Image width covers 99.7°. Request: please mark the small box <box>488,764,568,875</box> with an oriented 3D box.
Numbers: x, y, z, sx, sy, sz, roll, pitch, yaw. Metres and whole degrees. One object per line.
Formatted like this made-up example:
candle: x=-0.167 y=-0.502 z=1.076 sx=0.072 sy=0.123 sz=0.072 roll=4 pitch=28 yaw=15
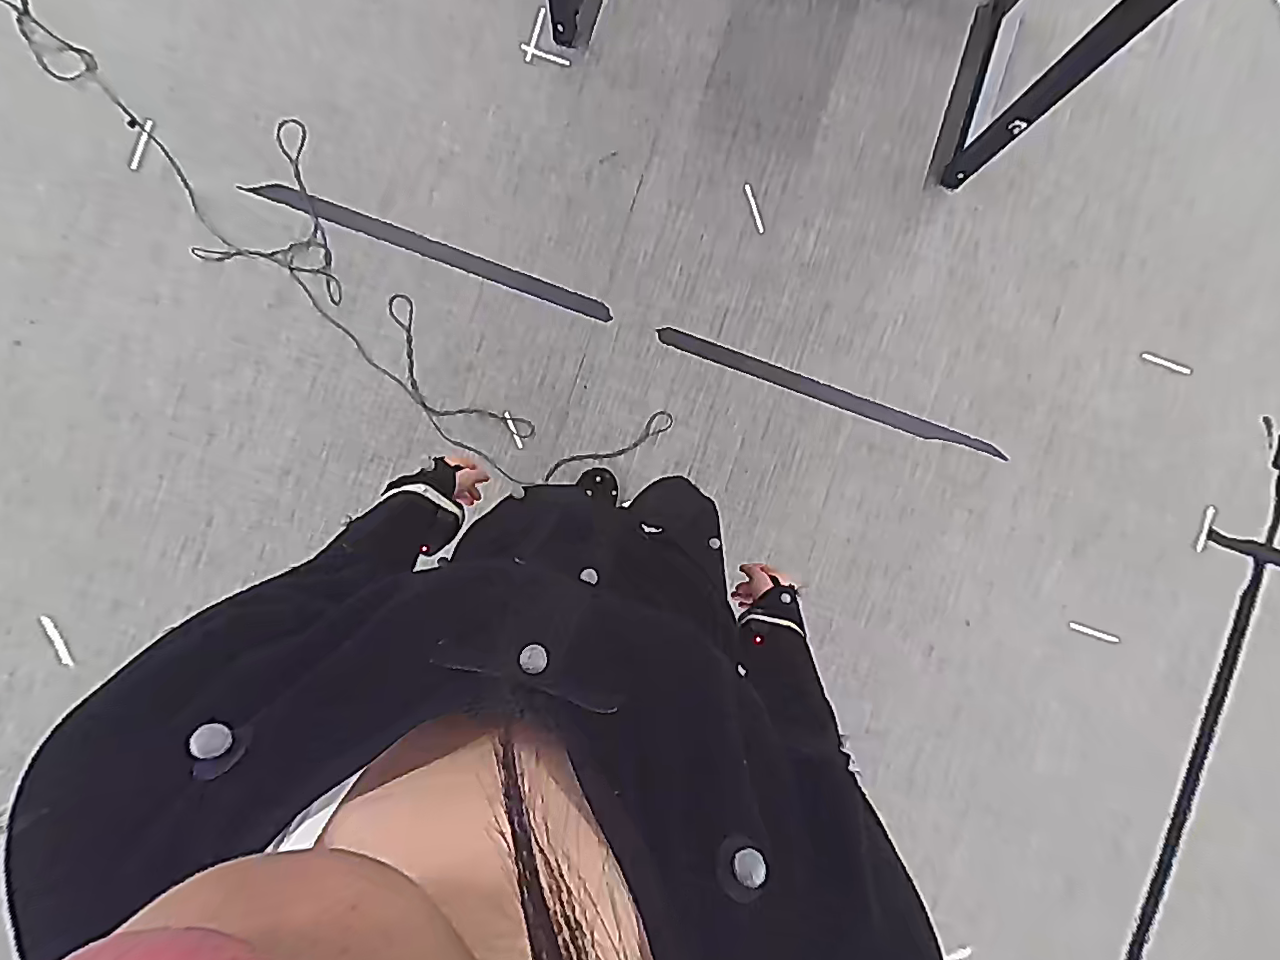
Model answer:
small box: x=-0.279 y=0.858 z=1.383 sx=0.168 sy=0.176 sz=0.179 roll=9 pitch=90 yaw=-4
